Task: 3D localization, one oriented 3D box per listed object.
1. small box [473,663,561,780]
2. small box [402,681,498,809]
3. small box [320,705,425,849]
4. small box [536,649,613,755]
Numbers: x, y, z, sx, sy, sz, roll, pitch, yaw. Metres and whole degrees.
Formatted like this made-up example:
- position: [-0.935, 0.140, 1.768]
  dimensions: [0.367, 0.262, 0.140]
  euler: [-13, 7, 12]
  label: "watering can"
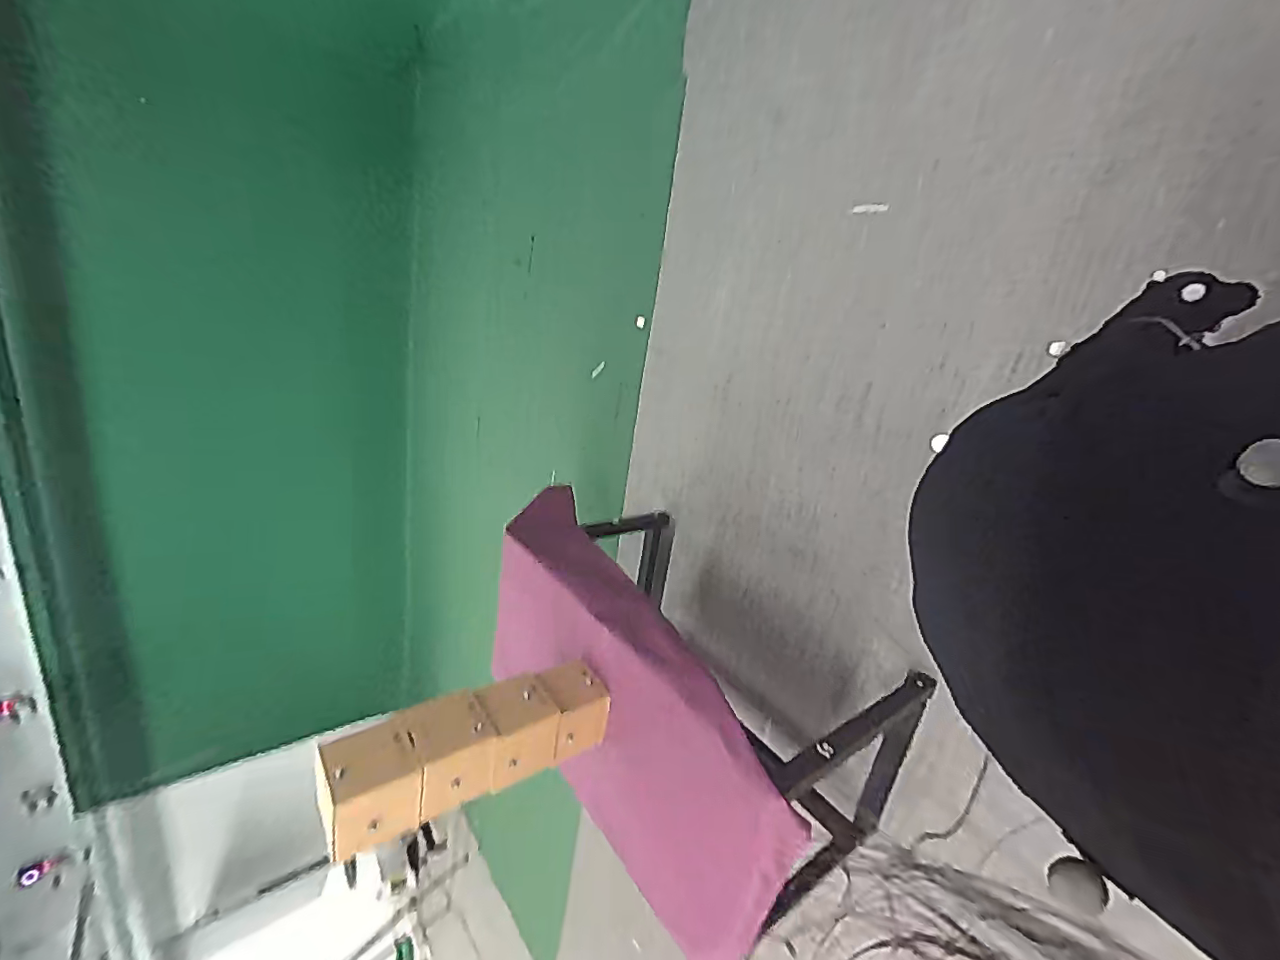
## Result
- position: [-0.314, 0.597, 1.357]
  dimensions: [0.168, 0.176, 0.179]
  euler: [32, 119, 43]
  label: "small box"
- position: [-0.441, 0.602, 1.253]
  dimensions: [0.168, 0.176, 0.179]
  euler: [34, 121, 43]
  label: "small box"
- position: [-0.568, 0.622, 1.151]
  dimensions: [0.168, 0.176, 0.179]
  euler: [35, 122, 42]
  label: "small box"
- position: [-0.193, 0.595, 1.468]
  dimensions: [0.168, 0.176, 0.179]
  euler: [35, 120, 42]
  label: "small box"
